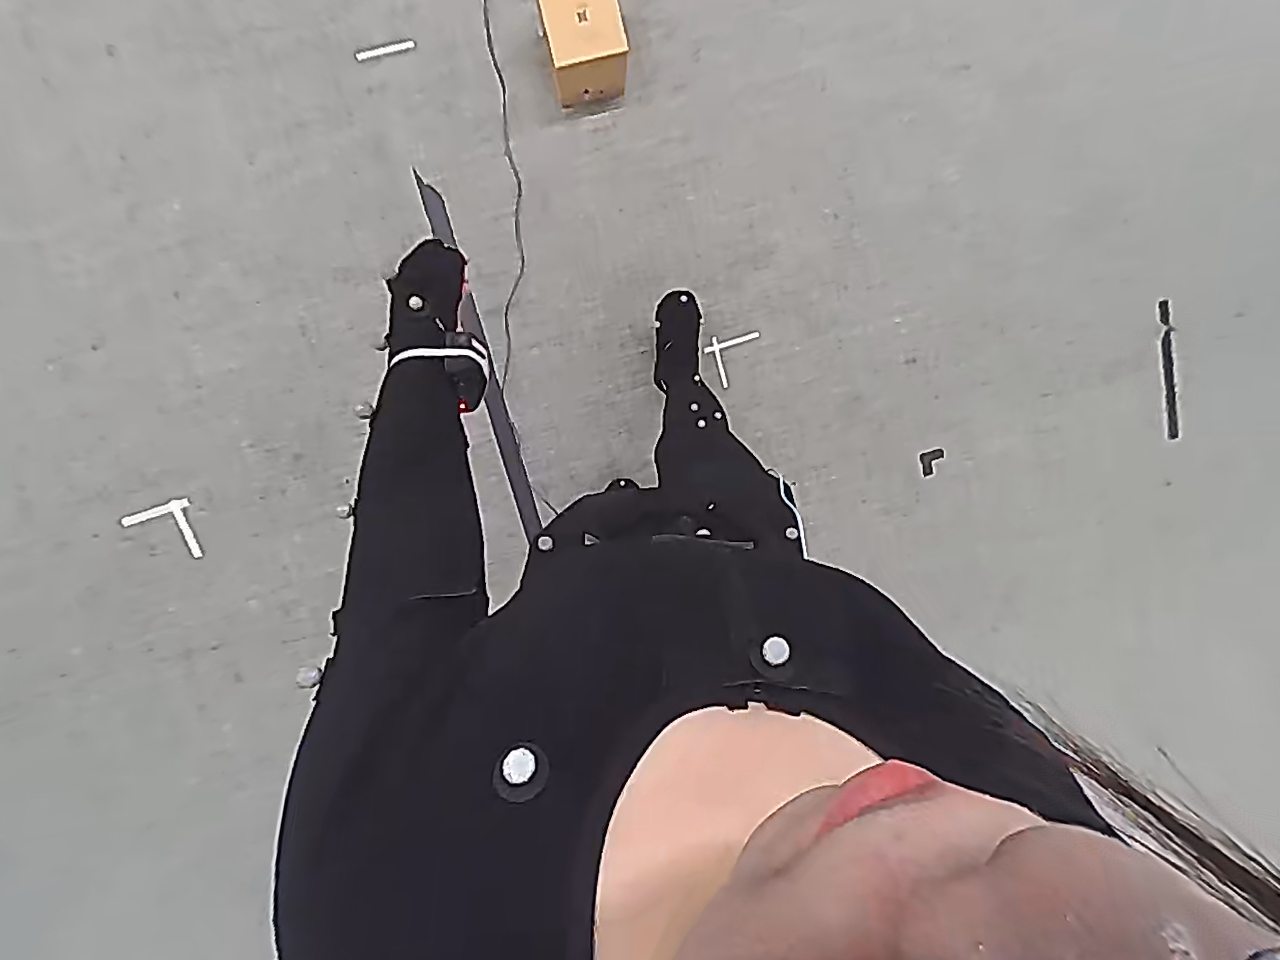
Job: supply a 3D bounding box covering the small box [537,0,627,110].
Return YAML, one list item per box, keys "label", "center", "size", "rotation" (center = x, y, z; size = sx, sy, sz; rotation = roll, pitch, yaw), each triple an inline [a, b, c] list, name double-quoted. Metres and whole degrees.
- label: "small box"
  center: [-0.132, -0.993, 1.231]
  size: [0.168, 0.176, 0.179]
  rotation: [-14, 100, -1]
